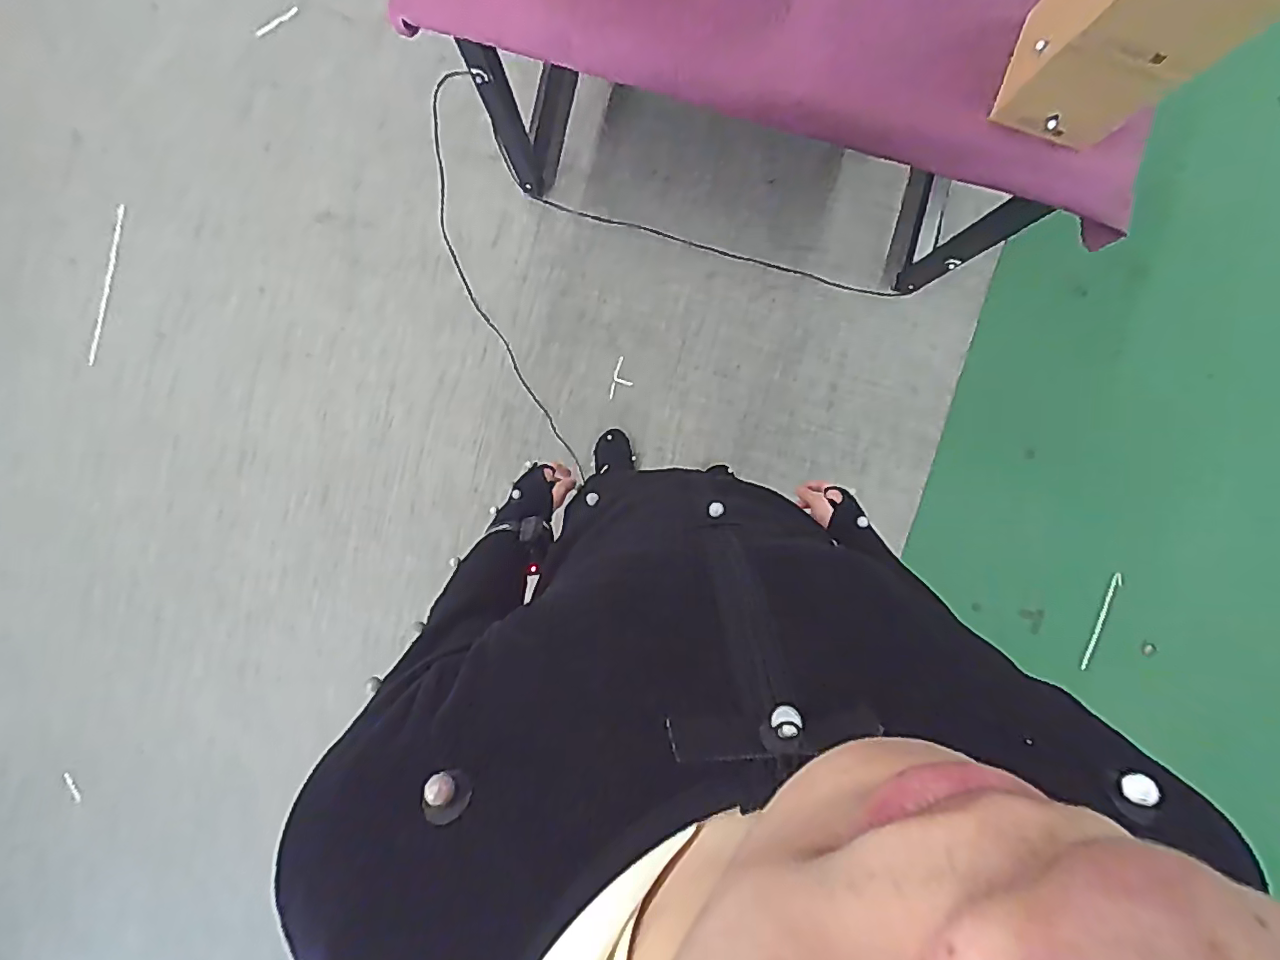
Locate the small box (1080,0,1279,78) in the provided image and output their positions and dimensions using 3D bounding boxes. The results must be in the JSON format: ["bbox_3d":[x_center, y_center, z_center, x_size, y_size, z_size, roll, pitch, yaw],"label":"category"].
[{"bbox_3d":[0.665,-0.624,0.620,0.168,0.176,0.179,20,92,0],"label":"small box"}]
